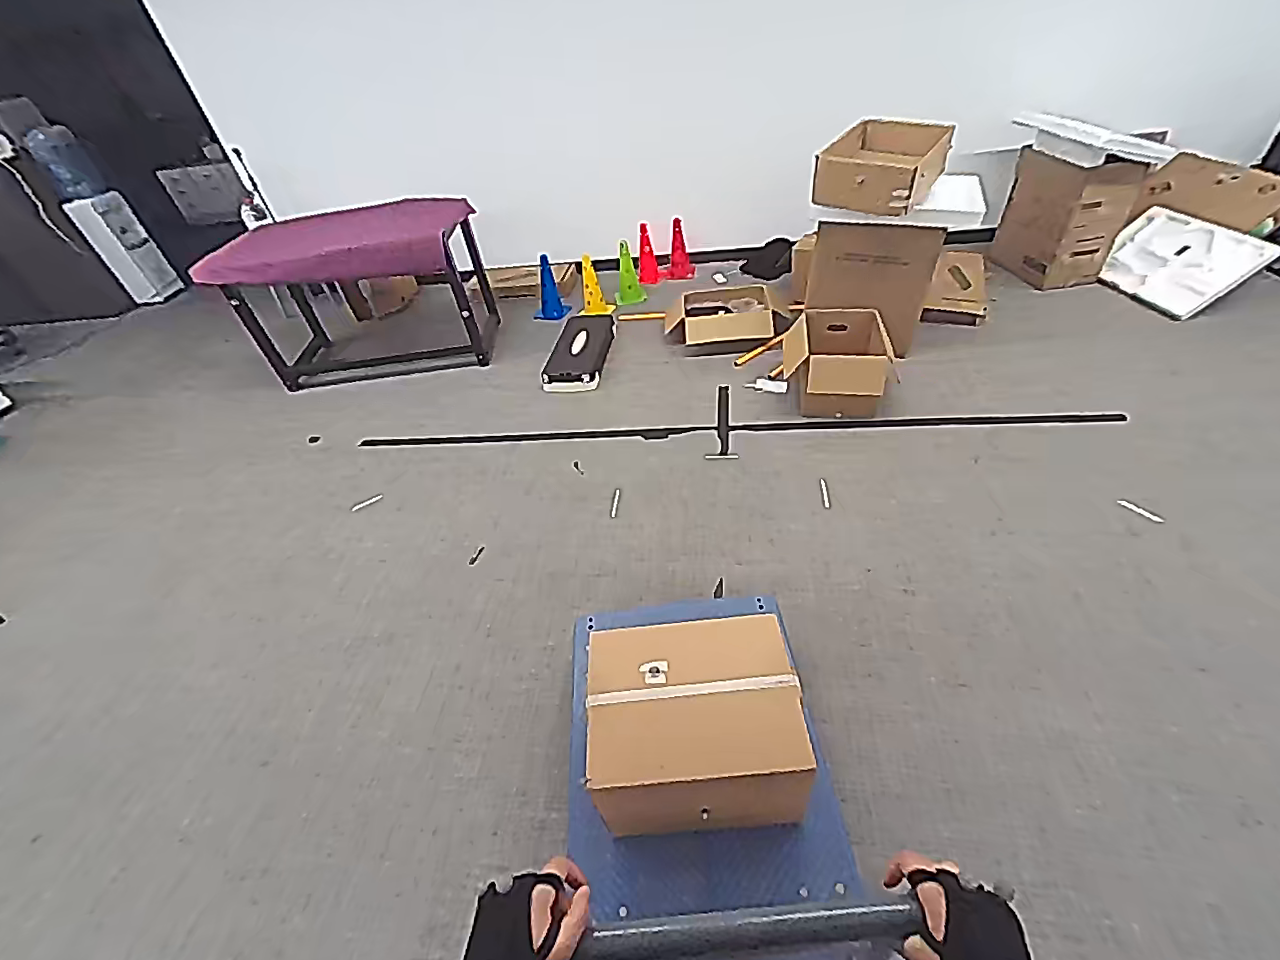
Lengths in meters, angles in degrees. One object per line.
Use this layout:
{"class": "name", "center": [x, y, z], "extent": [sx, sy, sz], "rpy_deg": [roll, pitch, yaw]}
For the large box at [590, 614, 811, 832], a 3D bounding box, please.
{"class": "large box", "center": [0.119, 0.528, 1.168], "extent": [0.408, 0.320, 0.320], "rpy_deg": [-8, 42, 3]}
